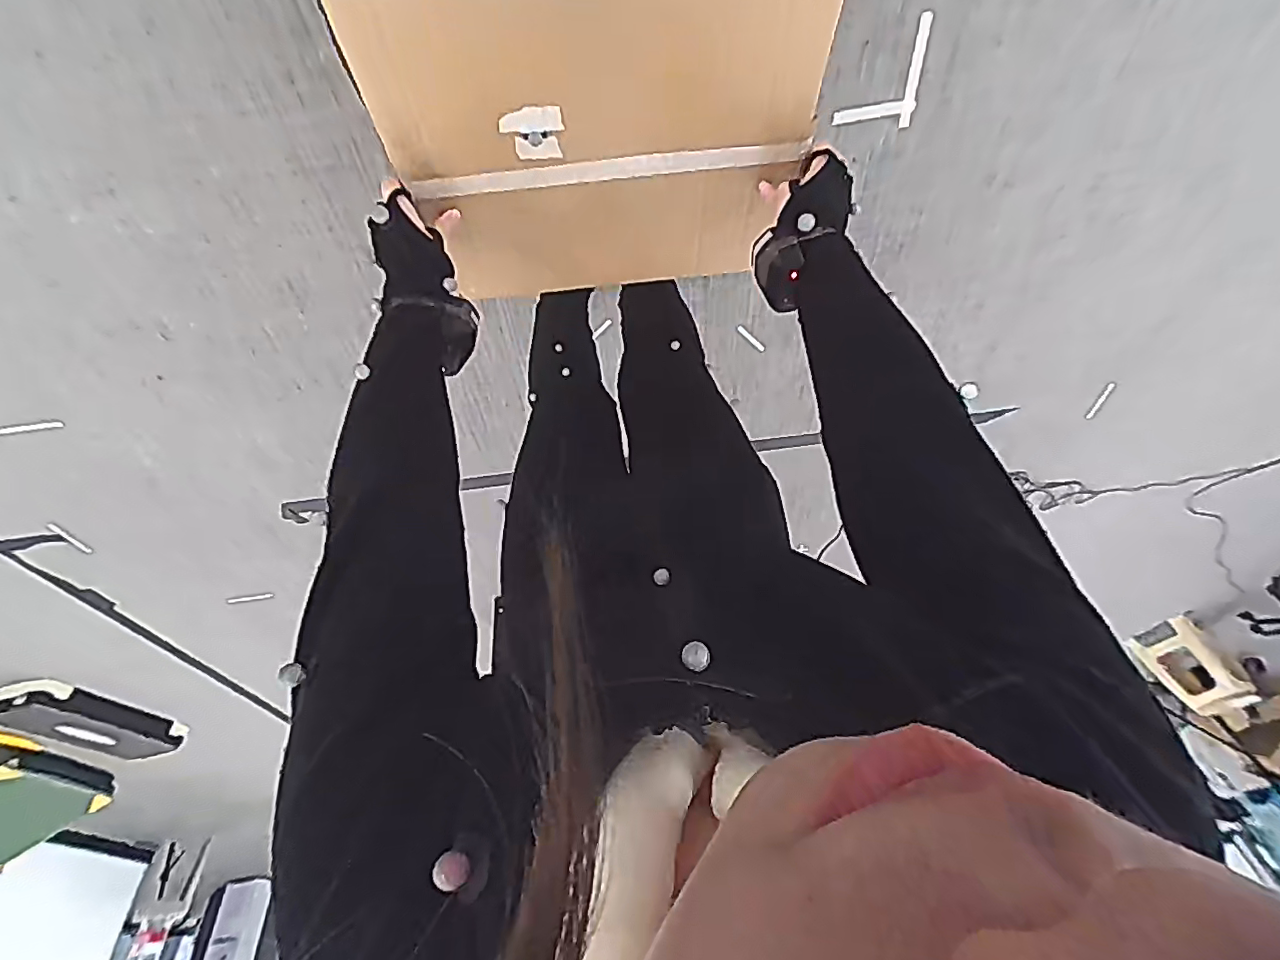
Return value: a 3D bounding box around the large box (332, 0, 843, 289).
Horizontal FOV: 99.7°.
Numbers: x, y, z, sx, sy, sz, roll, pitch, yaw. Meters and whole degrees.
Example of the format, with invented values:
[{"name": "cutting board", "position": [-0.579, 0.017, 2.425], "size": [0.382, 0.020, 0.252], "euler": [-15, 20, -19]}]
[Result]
[{"name": "large box", "position": [-0.044, -0.455, 0.592], "size": [0.408, 0.320, 0.320], "euler": [-6, 154, -2]}]
